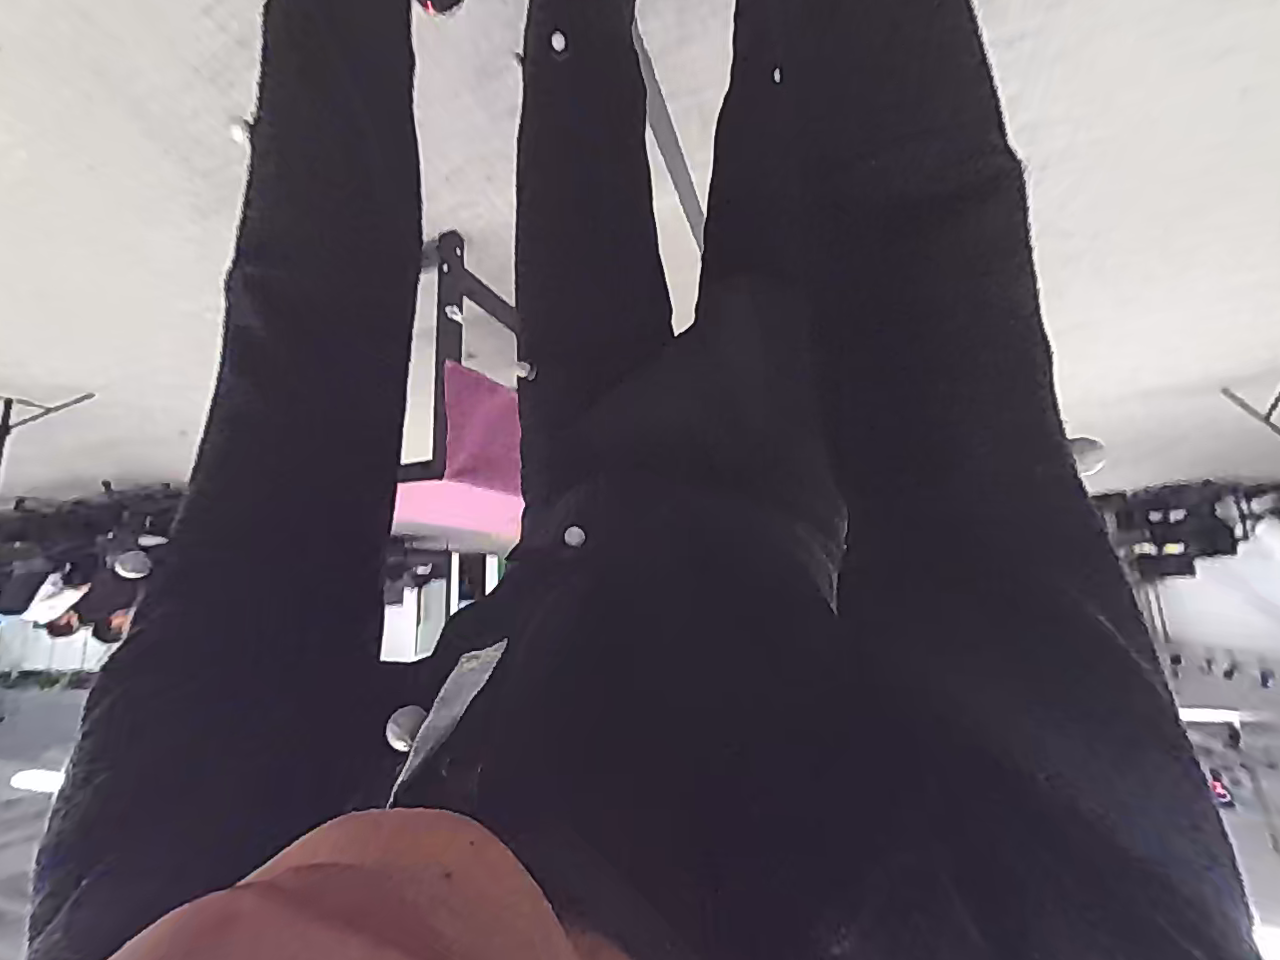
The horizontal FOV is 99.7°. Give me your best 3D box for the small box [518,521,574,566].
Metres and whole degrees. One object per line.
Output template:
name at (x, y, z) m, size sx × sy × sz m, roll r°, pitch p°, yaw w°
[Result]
small box at (-0.390, 0.269, 2.263) m, size 0.179 × 0.176 × 0.168 m, roll -10°, pitch 167°, yaw 28°
